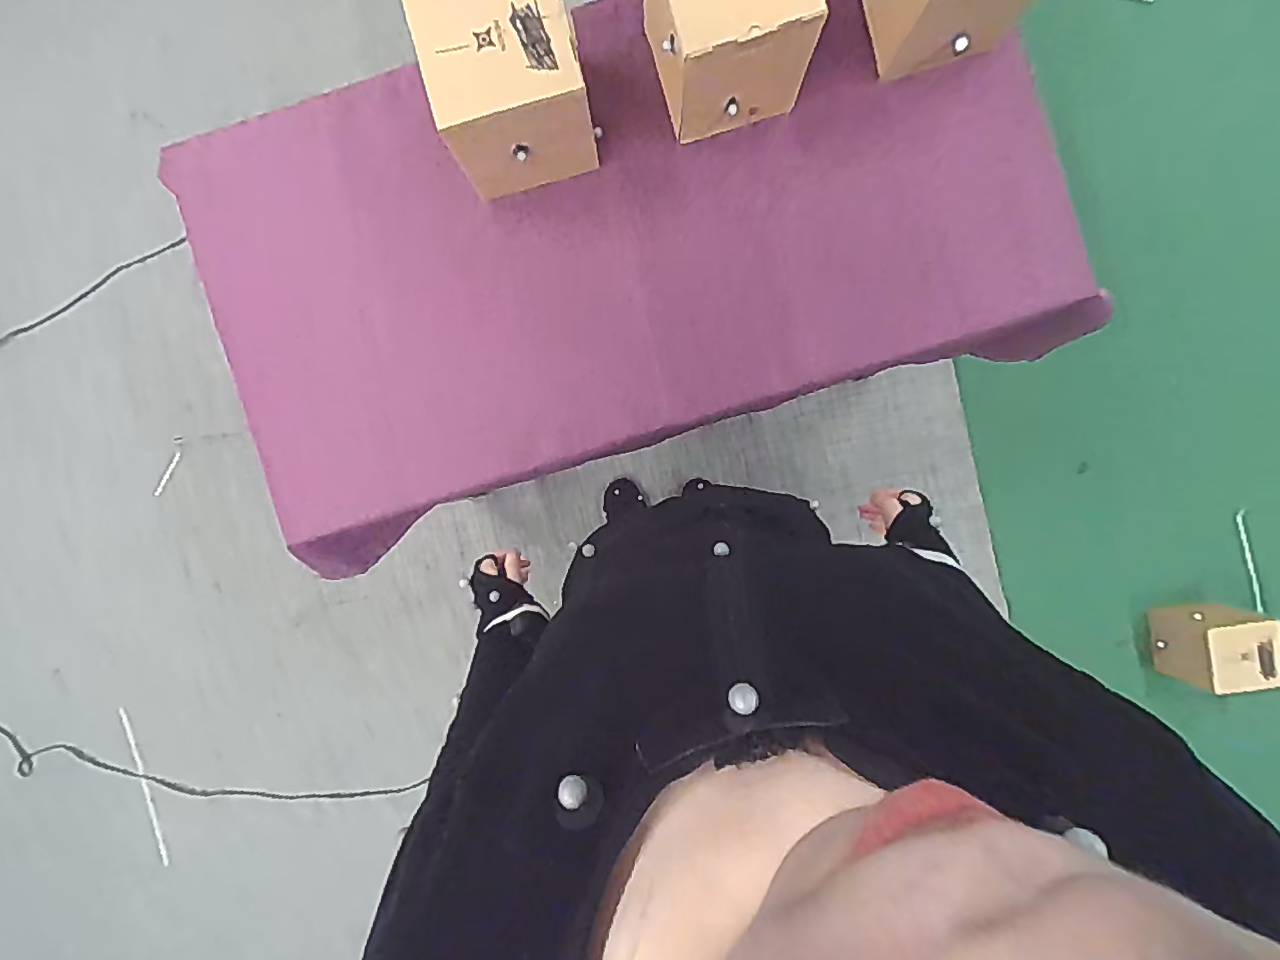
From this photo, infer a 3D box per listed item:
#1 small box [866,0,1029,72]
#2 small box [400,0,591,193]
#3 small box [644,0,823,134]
[{"bbox_3d":[0.382,-0.654,0.656,0.168,0.176,0.179,-14,94,3],"label":"small box"},{"bbox_3d":[-0.167,-0.501,0.684,0.179,0.176,0.168,-15,92,3],"label":"small box"},{"bbox_3d":[0.103,-0.583,0.674,0.168,0.176,0.179,-16,93,3],"label":"small box"}]
